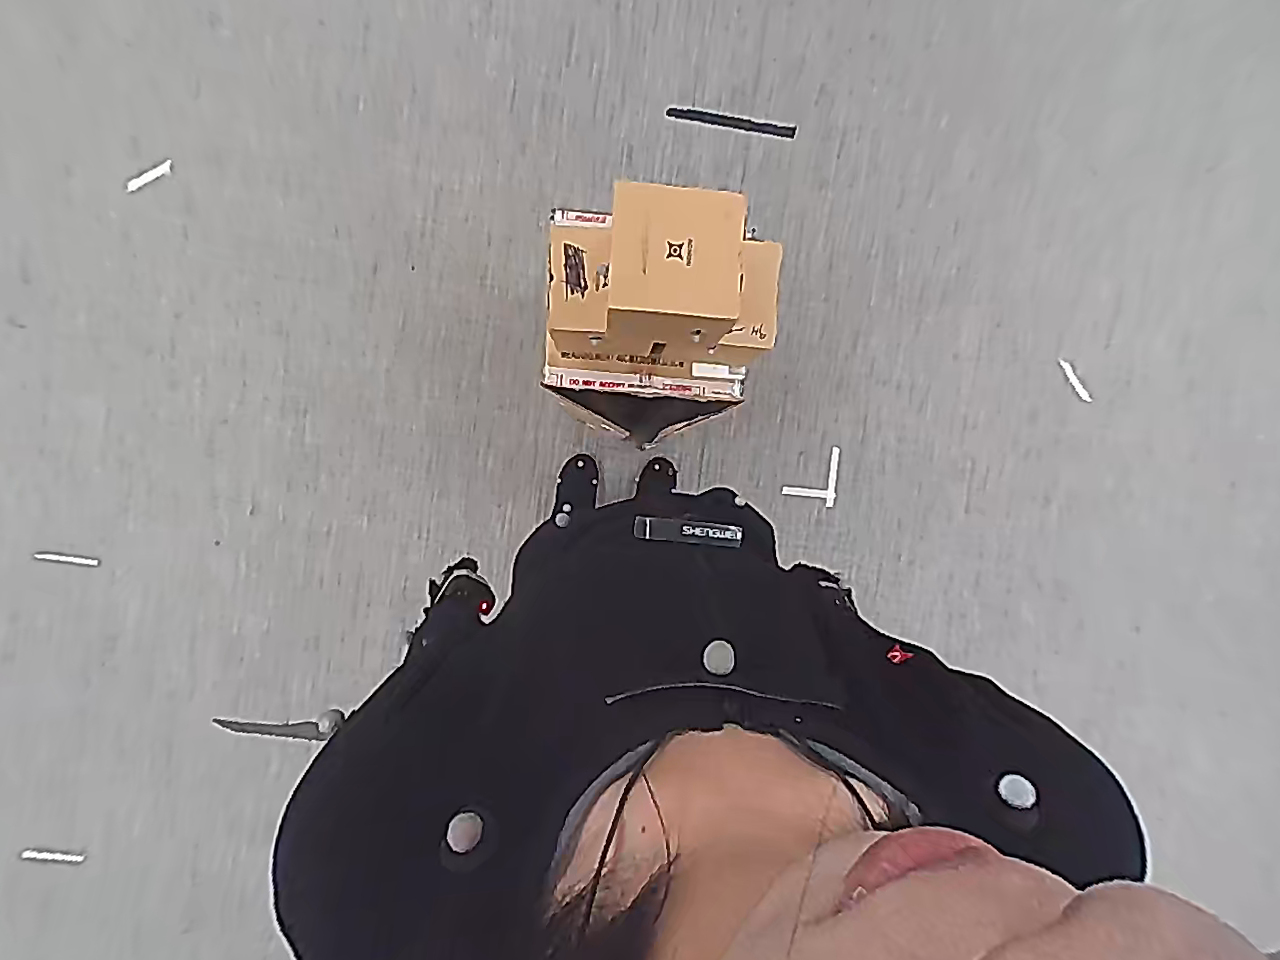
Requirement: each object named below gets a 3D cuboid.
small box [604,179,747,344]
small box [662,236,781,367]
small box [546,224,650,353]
[{"bbox_3d":[0.041,-0.297,0.771,0.179,0.176,0.168,3,90,-4],"label":"small box"},{"bbox_3d":[0.133,-0.307,0.943,0.168,0.176,0.179,4,91,-6],"label":"small box"},{"bbox_3d":[-0.063,-0.318,0.927,0.179,0.176,0.168,1,92,-4],"label":"small box"}]
